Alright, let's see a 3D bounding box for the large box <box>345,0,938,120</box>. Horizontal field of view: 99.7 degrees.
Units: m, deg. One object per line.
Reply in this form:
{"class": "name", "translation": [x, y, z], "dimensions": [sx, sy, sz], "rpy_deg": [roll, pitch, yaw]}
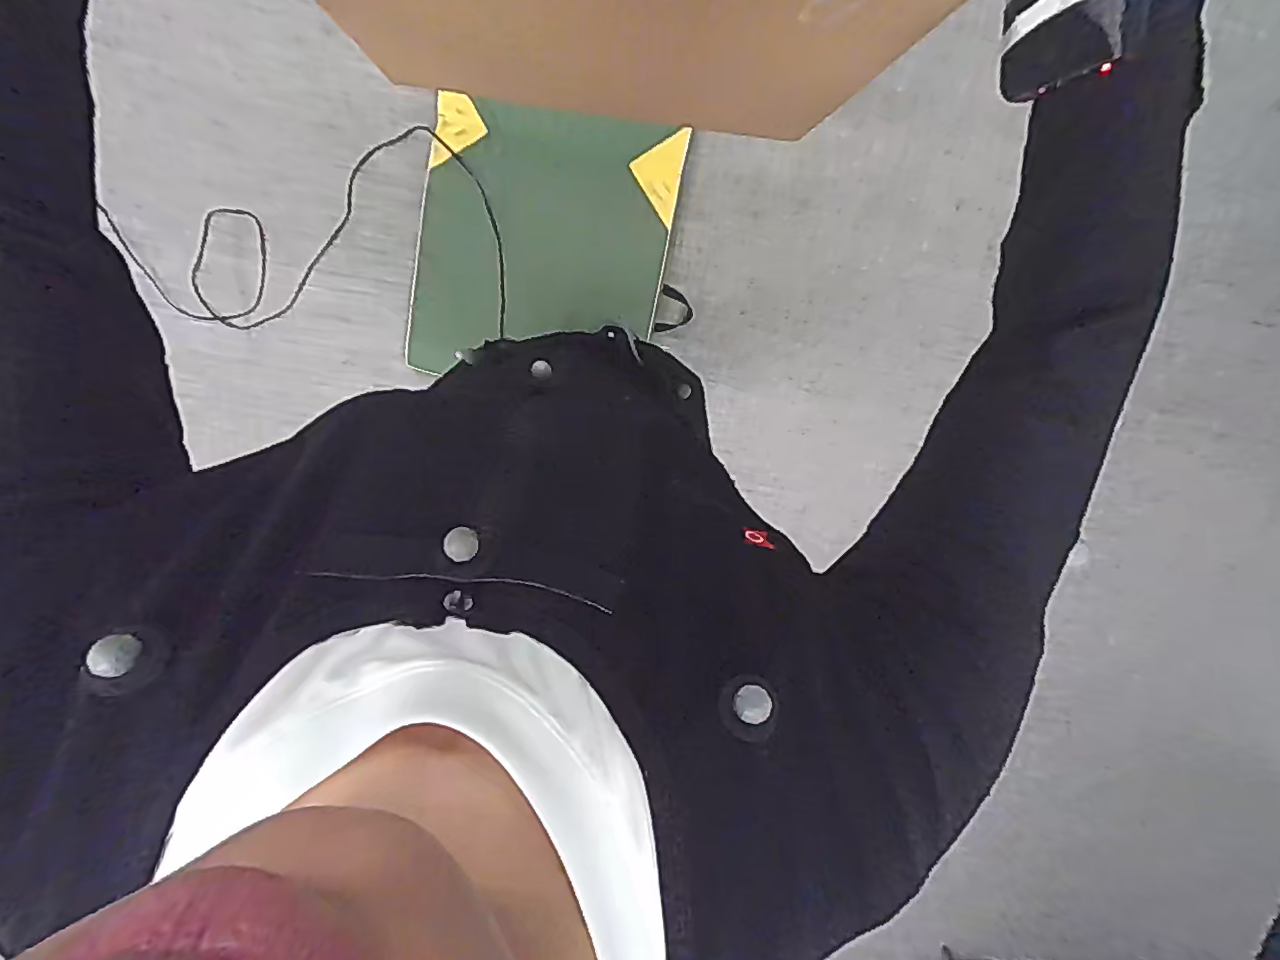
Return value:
{"class": "large box", "translation": [-0.005, -0.470, 0.343], "dimensions": [0.408, 0.320, 0.320], "rpy_deg": [3, 109, -7]}
